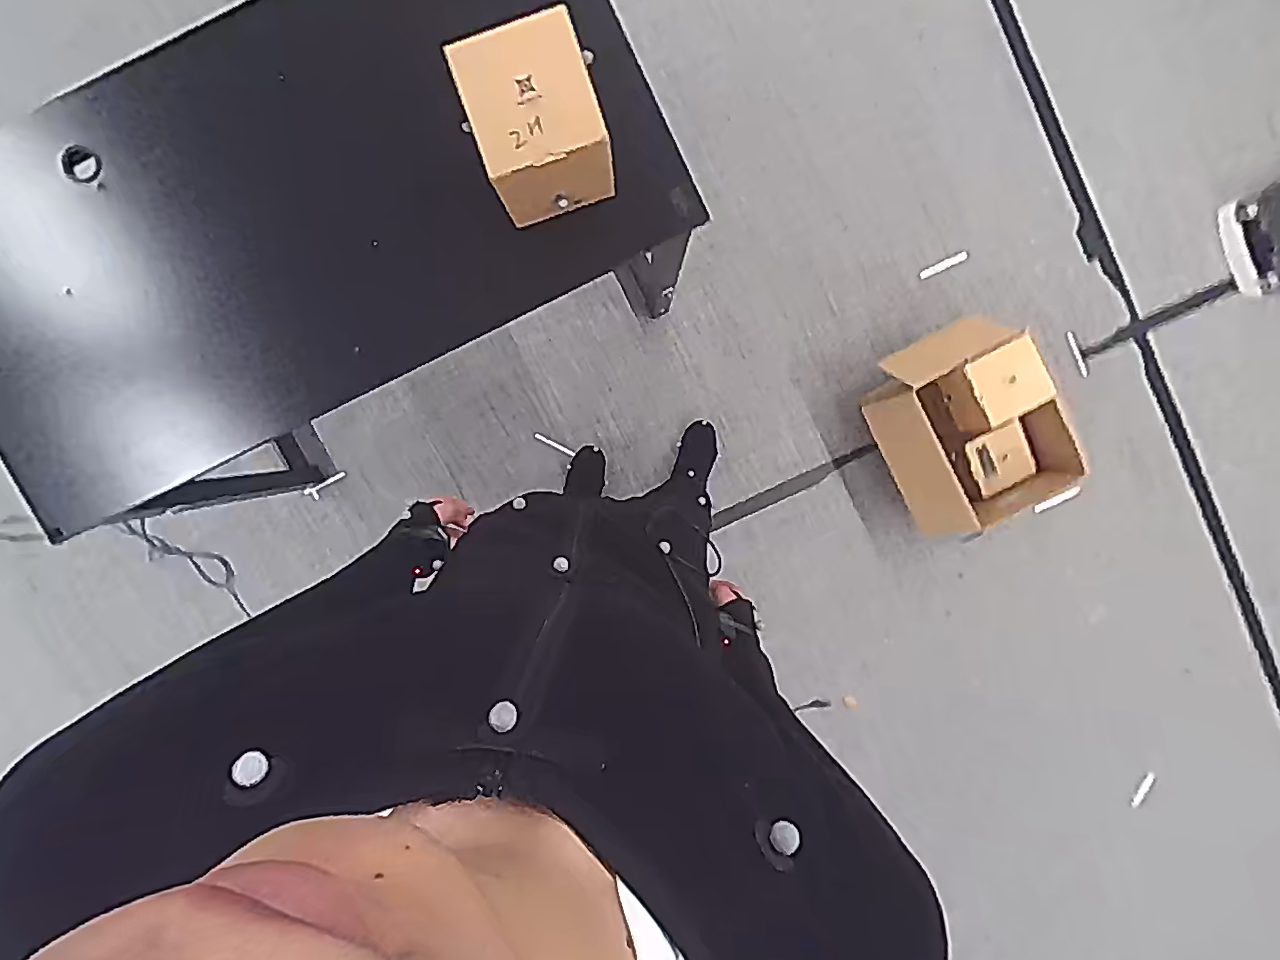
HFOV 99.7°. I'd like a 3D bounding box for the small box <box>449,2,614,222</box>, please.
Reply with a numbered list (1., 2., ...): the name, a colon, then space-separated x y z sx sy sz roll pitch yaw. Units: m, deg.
1. small box: -0.141 -0.502 0.766 0.168 0.176 0.179 -18 95 1
